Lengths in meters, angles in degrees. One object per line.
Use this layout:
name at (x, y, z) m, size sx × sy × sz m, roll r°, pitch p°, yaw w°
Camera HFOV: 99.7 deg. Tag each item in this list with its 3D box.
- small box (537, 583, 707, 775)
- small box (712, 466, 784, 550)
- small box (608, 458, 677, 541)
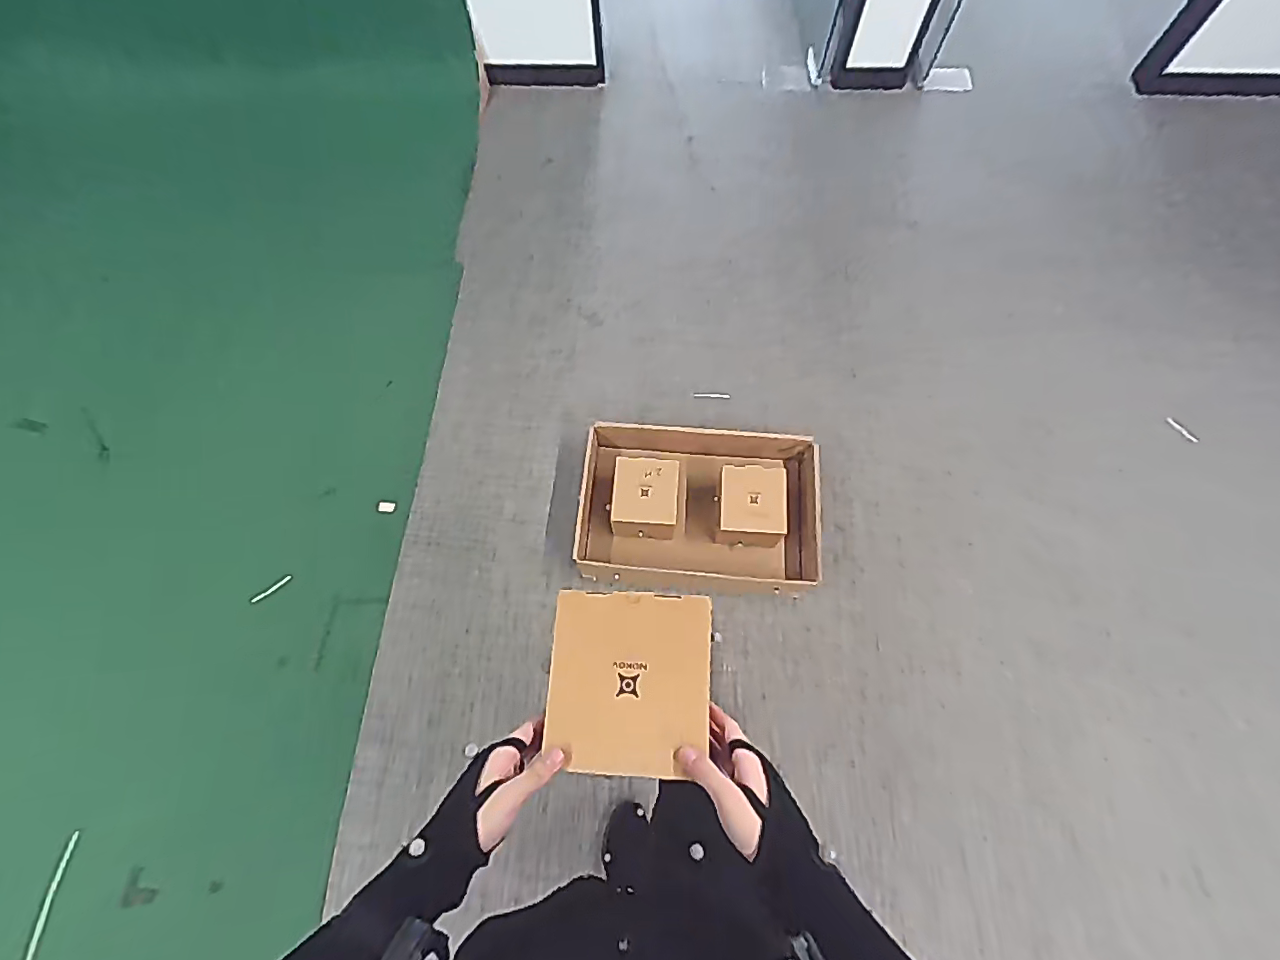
small box at (-0.009, 0.223, 0.621) m, size 0.168 × 0.176 × 0.179 m, roll 2°, pitch 69°, yaw 4°
small box at (0.283, 0.077, 1.434) m, size 0.168 × 0.176 × 0.179 m, roll 4°, pitch 70°, yaw 4°
small box at (0.009, 0.057, 1.444) m, size 0.168 × 0.176 × 0.179 m, roll 5°, pitch 69°, yaw 2°
